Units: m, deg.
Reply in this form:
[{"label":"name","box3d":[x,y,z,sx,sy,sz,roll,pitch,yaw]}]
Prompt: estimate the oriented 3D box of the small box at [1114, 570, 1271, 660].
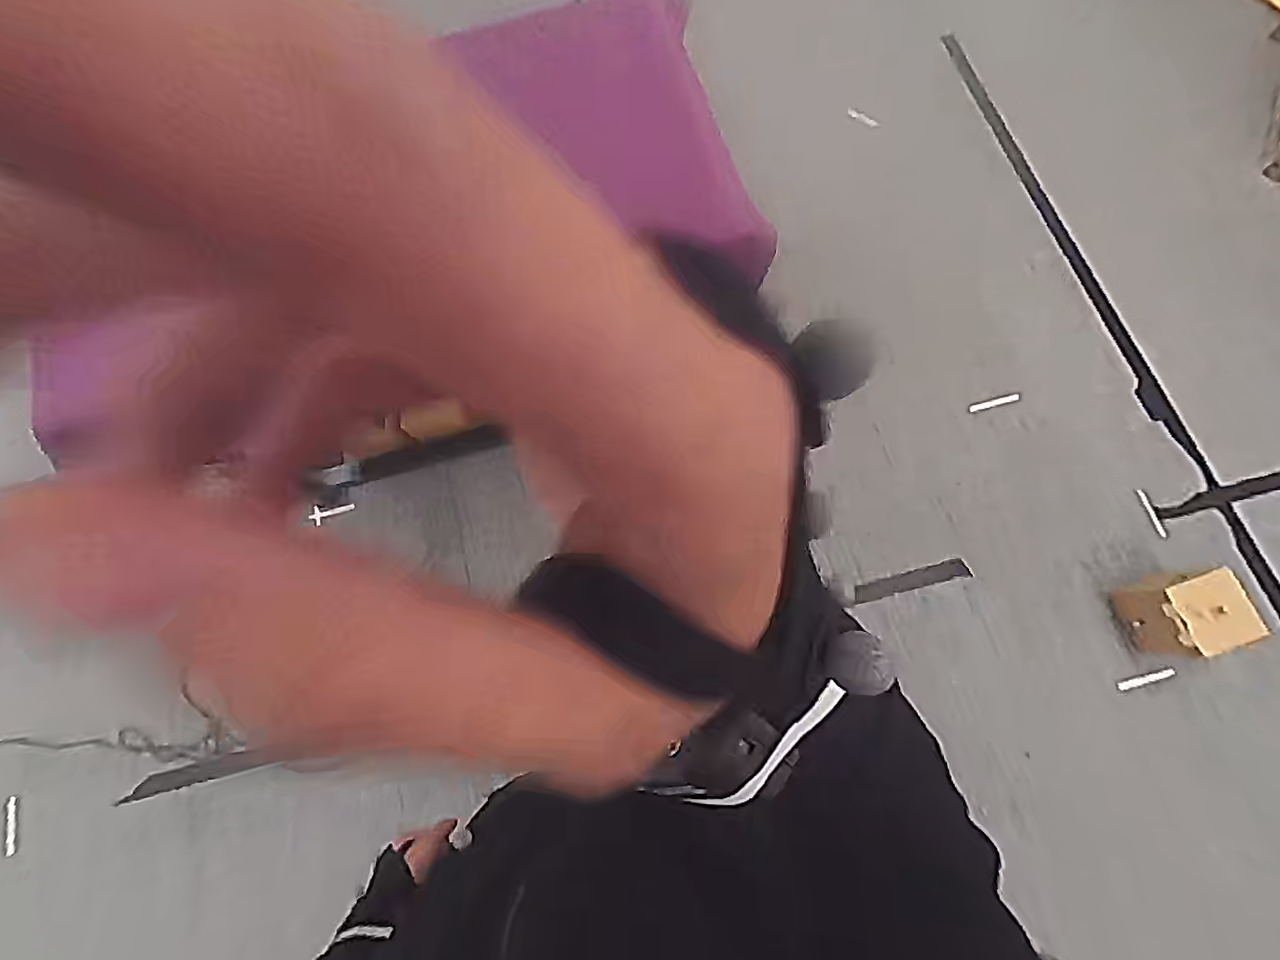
[{"label":"small box","box3d":[1.340,0.328,1.327,0.179,0.176,0.168,-19,76,-1]}]
